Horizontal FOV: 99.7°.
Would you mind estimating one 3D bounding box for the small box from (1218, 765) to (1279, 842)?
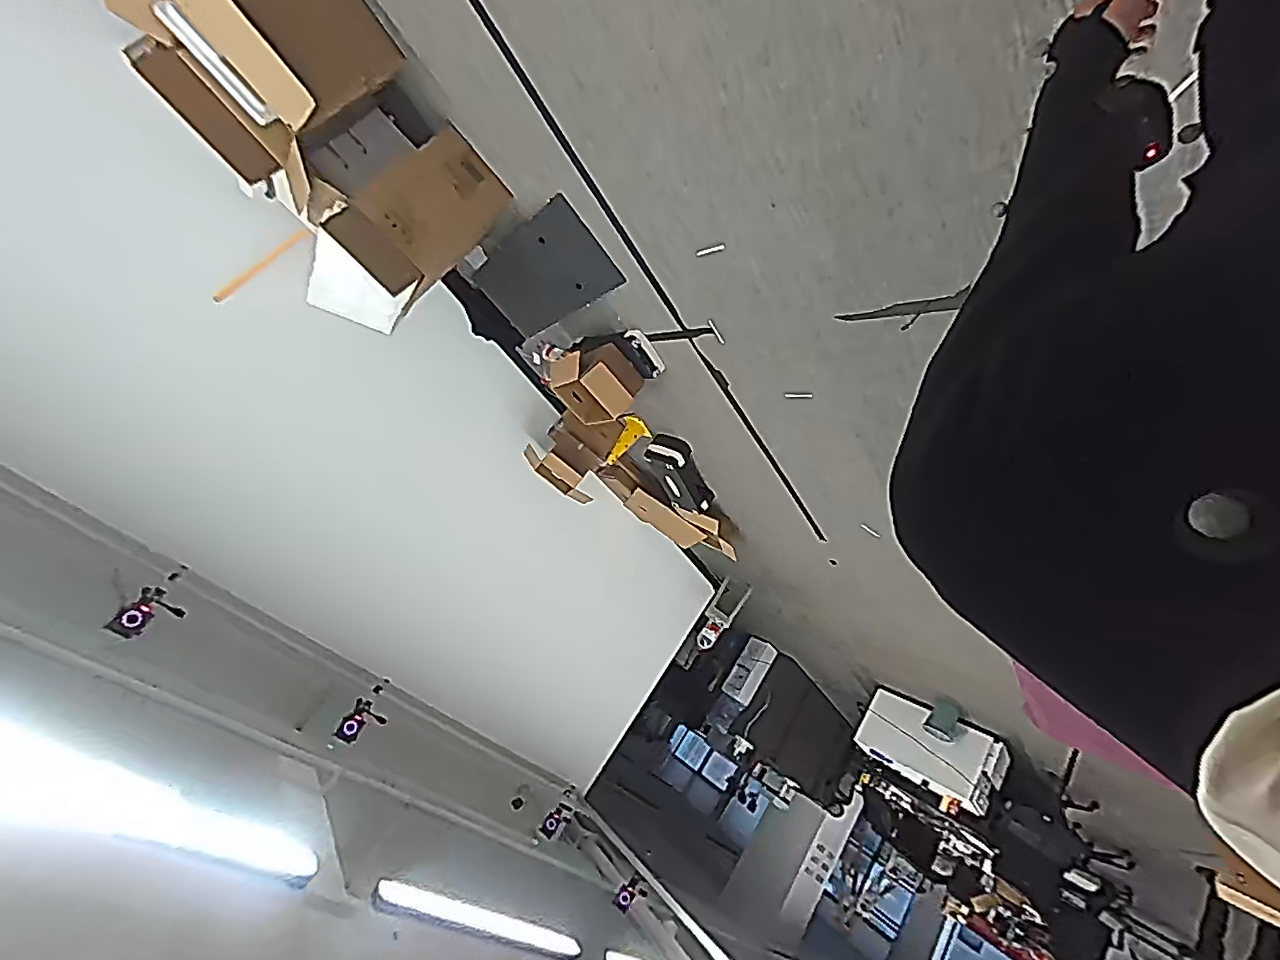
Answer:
[{"bbox_3d":[1.658,0.876,1.410,0.168,0.176,0.179,46,160,-30],"label":"small box"}]

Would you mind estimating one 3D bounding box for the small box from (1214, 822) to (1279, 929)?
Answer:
[{"bbox_3d":[1.571,0.996,1.339,0.168,0.176,0.179,47,160,-30],"label":"small box"}]
